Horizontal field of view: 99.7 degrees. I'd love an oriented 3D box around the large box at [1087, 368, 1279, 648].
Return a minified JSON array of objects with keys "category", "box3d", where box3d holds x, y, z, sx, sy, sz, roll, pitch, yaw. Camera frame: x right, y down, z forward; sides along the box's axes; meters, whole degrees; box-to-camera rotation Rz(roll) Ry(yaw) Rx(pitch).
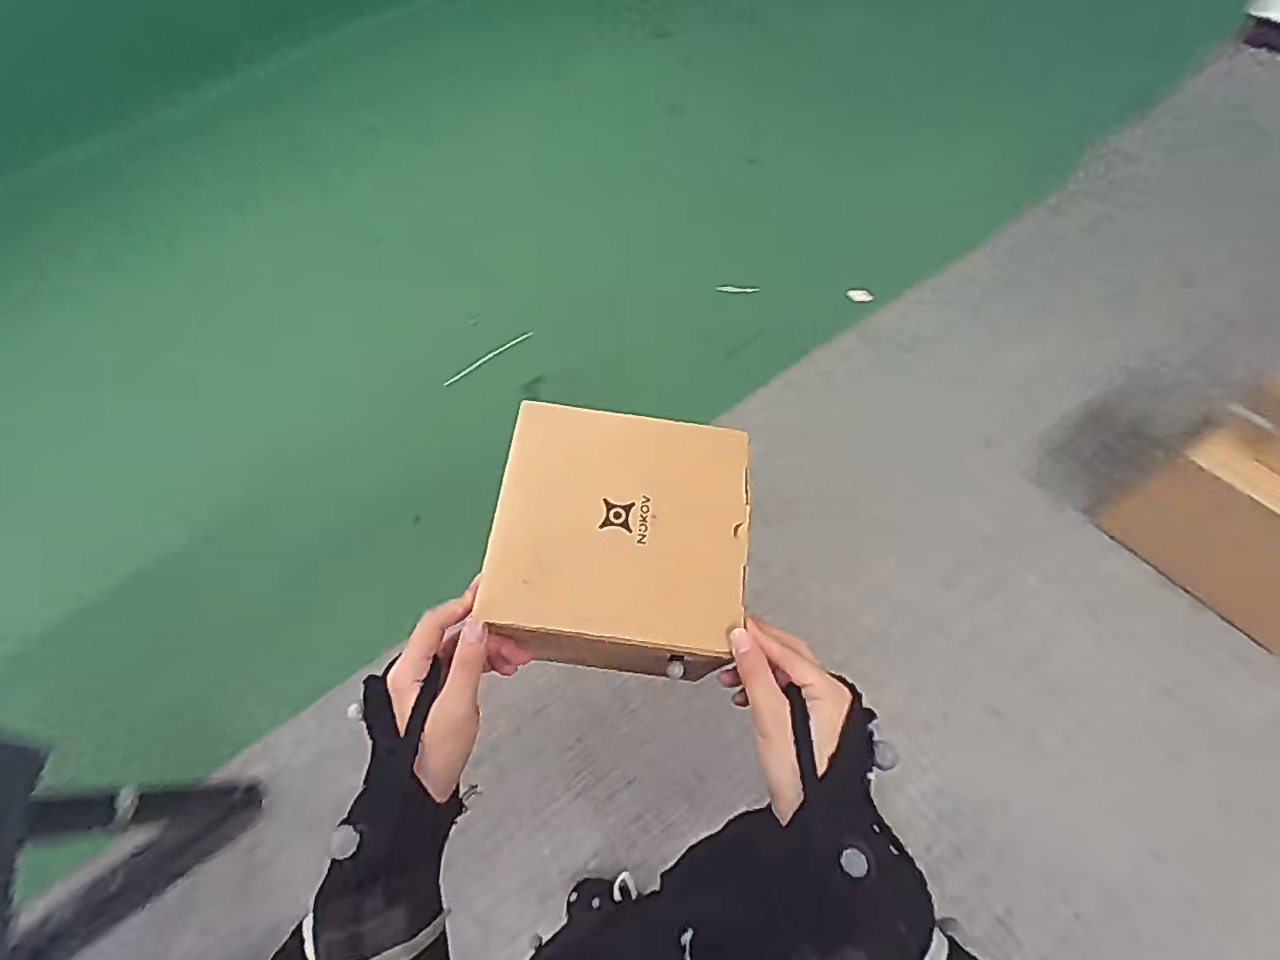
[{"category":"large box","box3d":[1.259,0.062,1.084,0.320,0.320,0.408,-39,65,-11]}]
